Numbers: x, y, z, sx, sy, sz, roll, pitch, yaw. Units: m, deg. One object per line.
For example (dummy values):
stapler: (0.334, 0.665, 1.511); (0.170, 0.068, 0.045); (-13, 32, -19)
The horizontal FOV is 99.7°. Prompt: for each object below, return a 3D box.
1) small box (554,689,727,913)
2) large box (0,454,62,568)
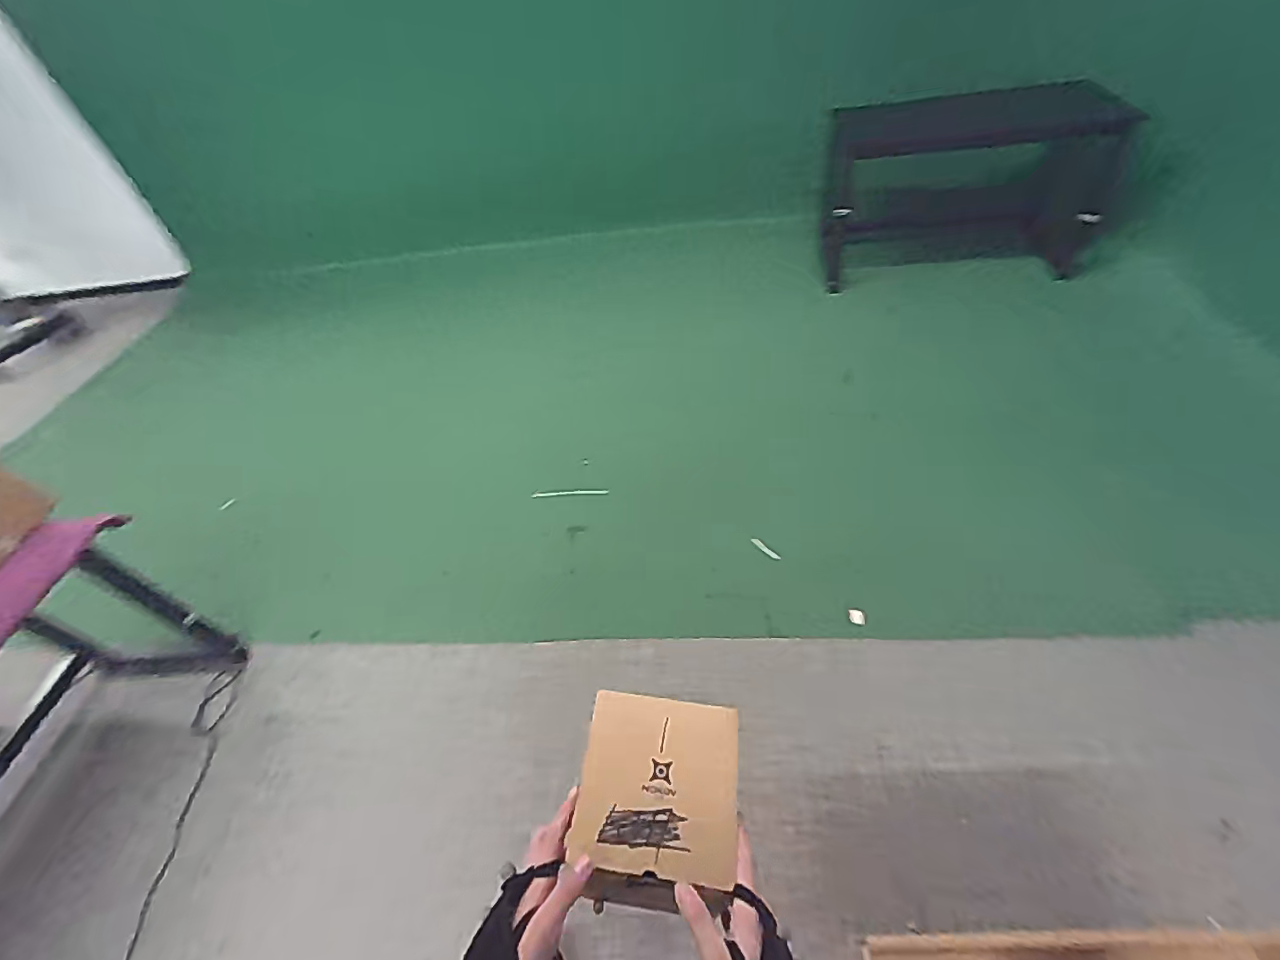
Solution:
small box: (0.006, 0.367, 0.616); (0.168, 0.176, 0.179); (6, 44, 3)
large box: (-1.764, 0.073, 1.265); (0.408, 0.320, 0.320); (-2, 49, 8)
